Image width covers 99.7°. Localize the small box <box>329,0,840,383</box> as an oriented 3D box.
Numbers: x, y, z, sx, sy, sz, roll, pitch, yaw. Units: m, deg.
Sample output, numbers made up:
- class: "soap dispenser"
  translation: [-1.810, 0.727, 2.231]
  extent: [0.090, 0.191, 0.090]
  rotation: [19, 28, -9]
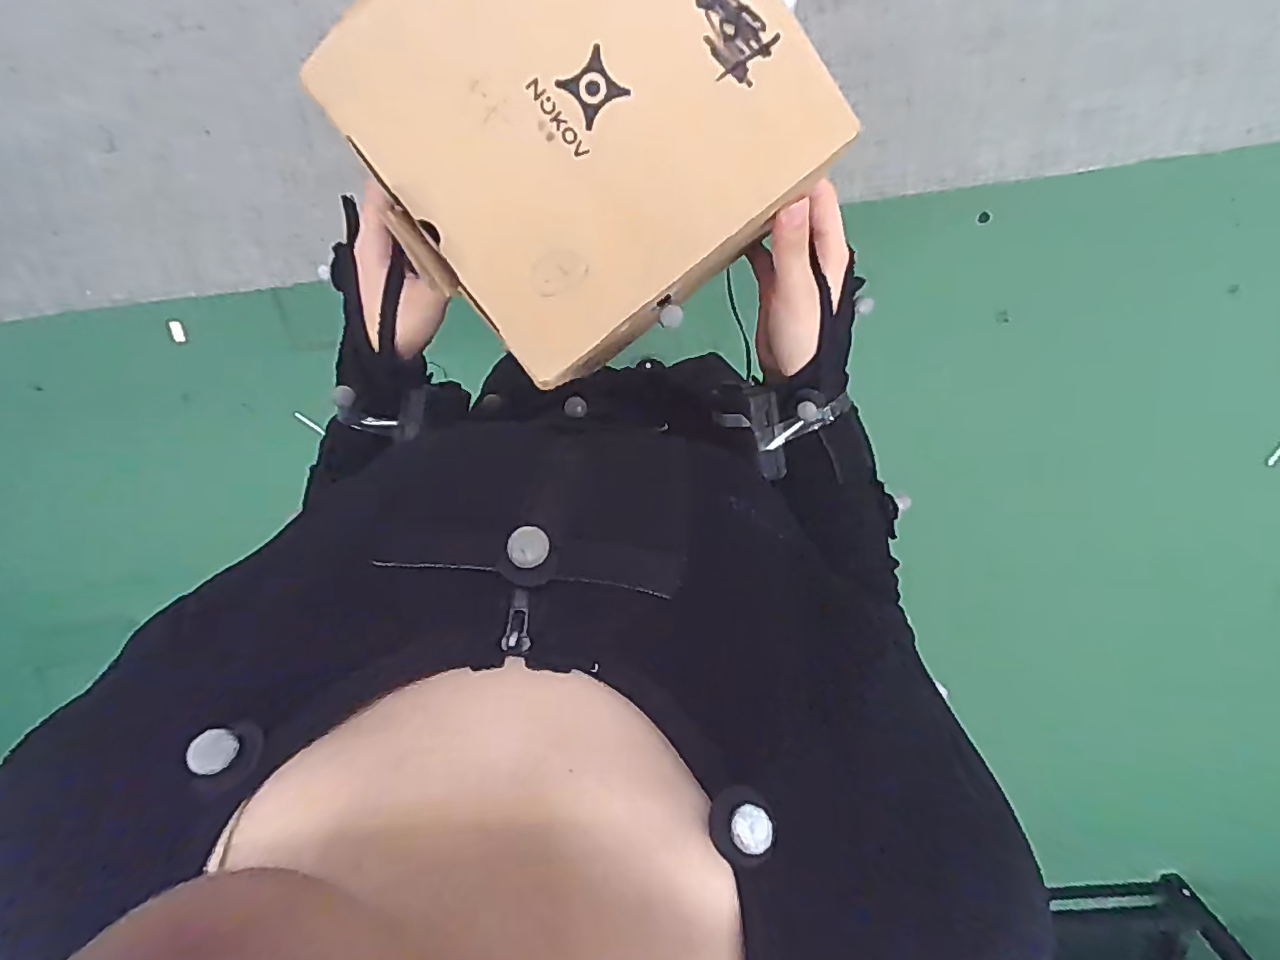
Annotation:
- class: "small box"
  translation: [-0.021, -0.175, 0.318]
  extent: [0.179, 0.176, 0.168]
  rotation: [-37, 99, 10]
